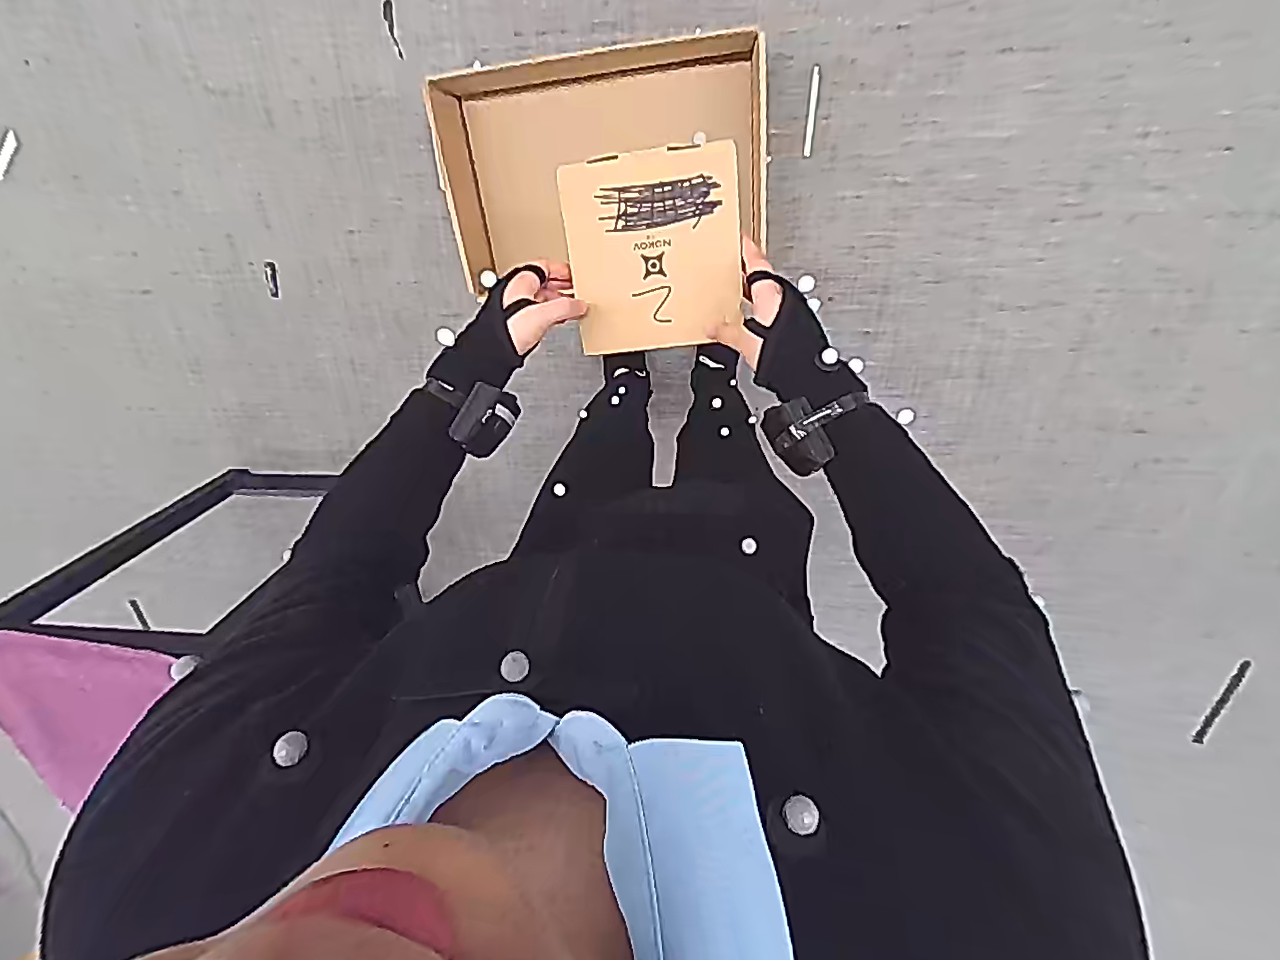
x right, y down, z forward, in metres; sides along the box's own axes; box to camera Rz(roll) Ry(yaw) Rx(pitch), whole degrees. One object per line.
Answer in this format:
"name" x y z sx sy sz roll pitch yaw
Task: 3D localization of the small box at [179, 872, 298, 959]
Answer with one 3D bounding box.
"small box" -0.954 1.064 1.278 0.168 0.176 0.179 2 117 6
